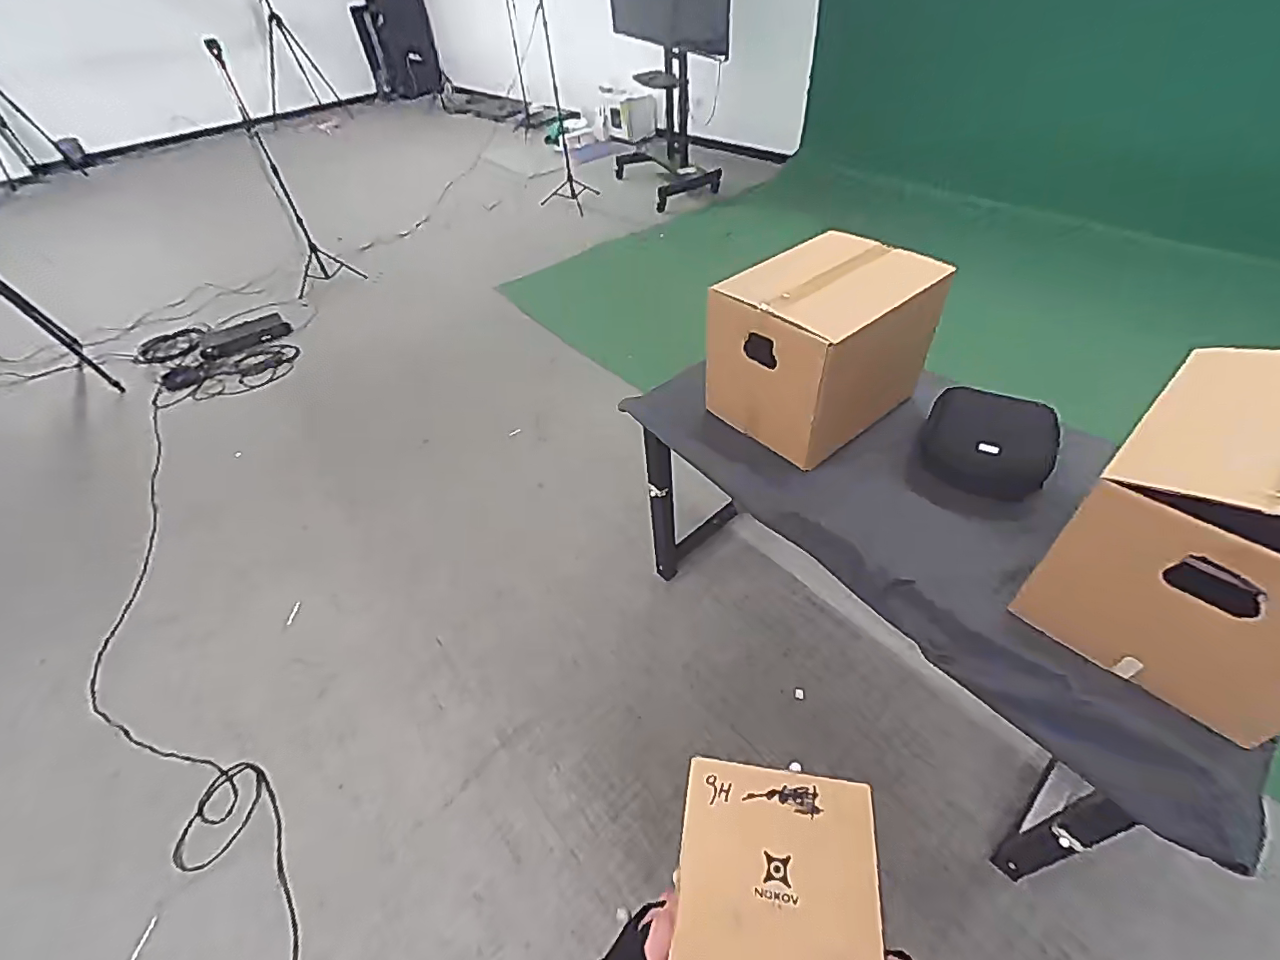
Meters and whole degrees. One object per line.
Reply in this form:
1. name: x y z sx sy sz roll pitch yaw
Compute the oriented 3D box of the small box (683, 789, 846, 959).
1. small box: 0.146 0.497 0.647 0.168 0.176 0.179 0 47 10
